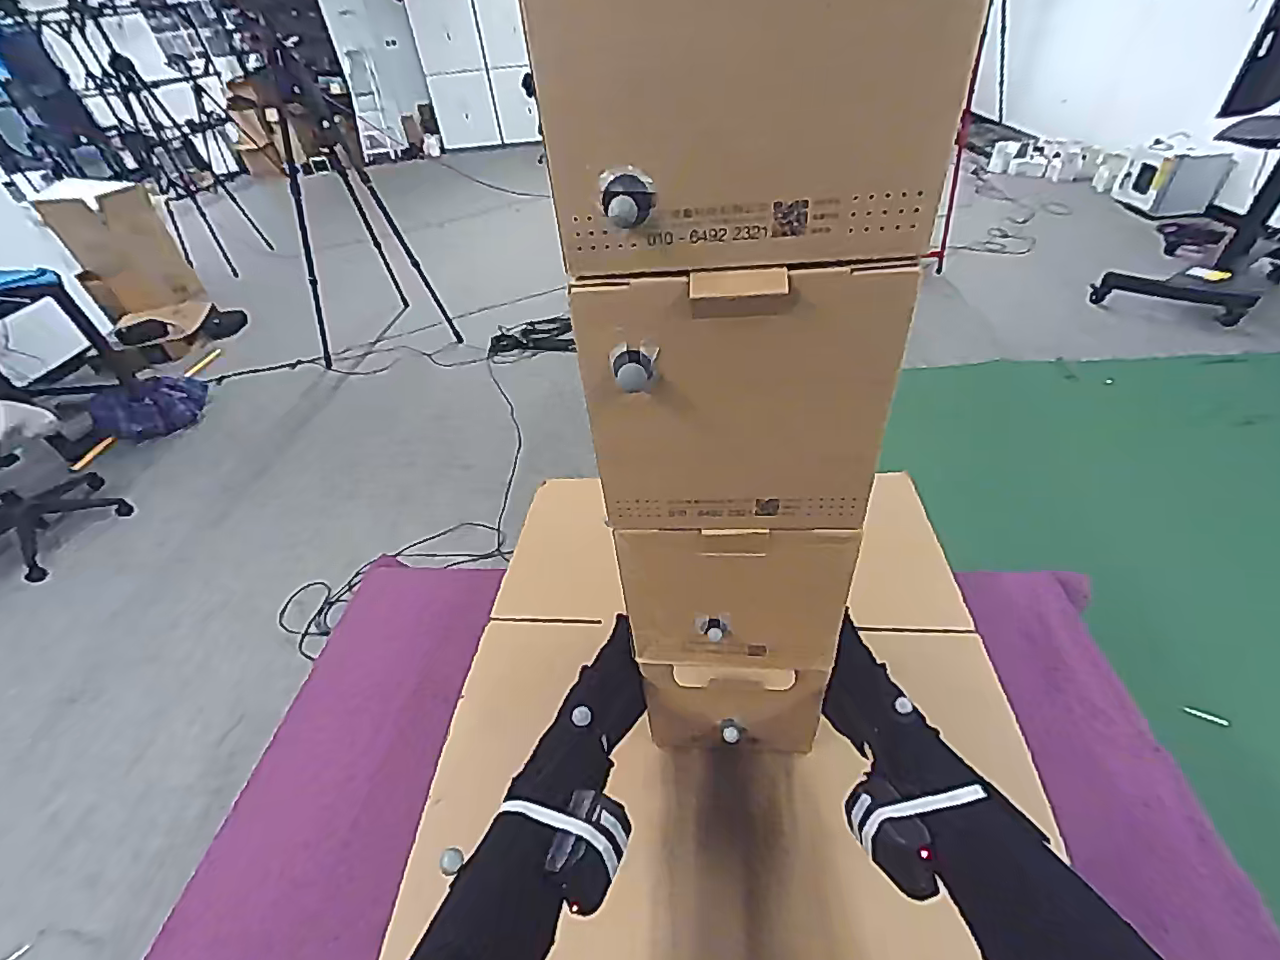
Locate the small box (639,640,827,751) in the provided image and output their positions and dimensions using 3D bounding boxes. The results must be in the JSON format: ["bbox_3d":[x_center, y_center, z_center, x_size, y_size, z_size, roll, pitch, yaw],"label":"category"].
[{"bbox_3d":[0.095,0.163,0.583,0.168,0.176,0.179,-1,40,8],"label":"small box"}]

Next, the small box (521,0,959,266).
[{"bbox_3d":[0.046,-0.215,0.270,0.168,0.176,0.179,0,39,8],"label":"small box"}]

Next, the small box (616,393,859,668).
[{"bbox_3d":[0.078,0.040,0.478,0.168,0.176,0.179,-1,41,8],"label":"small box"}]
